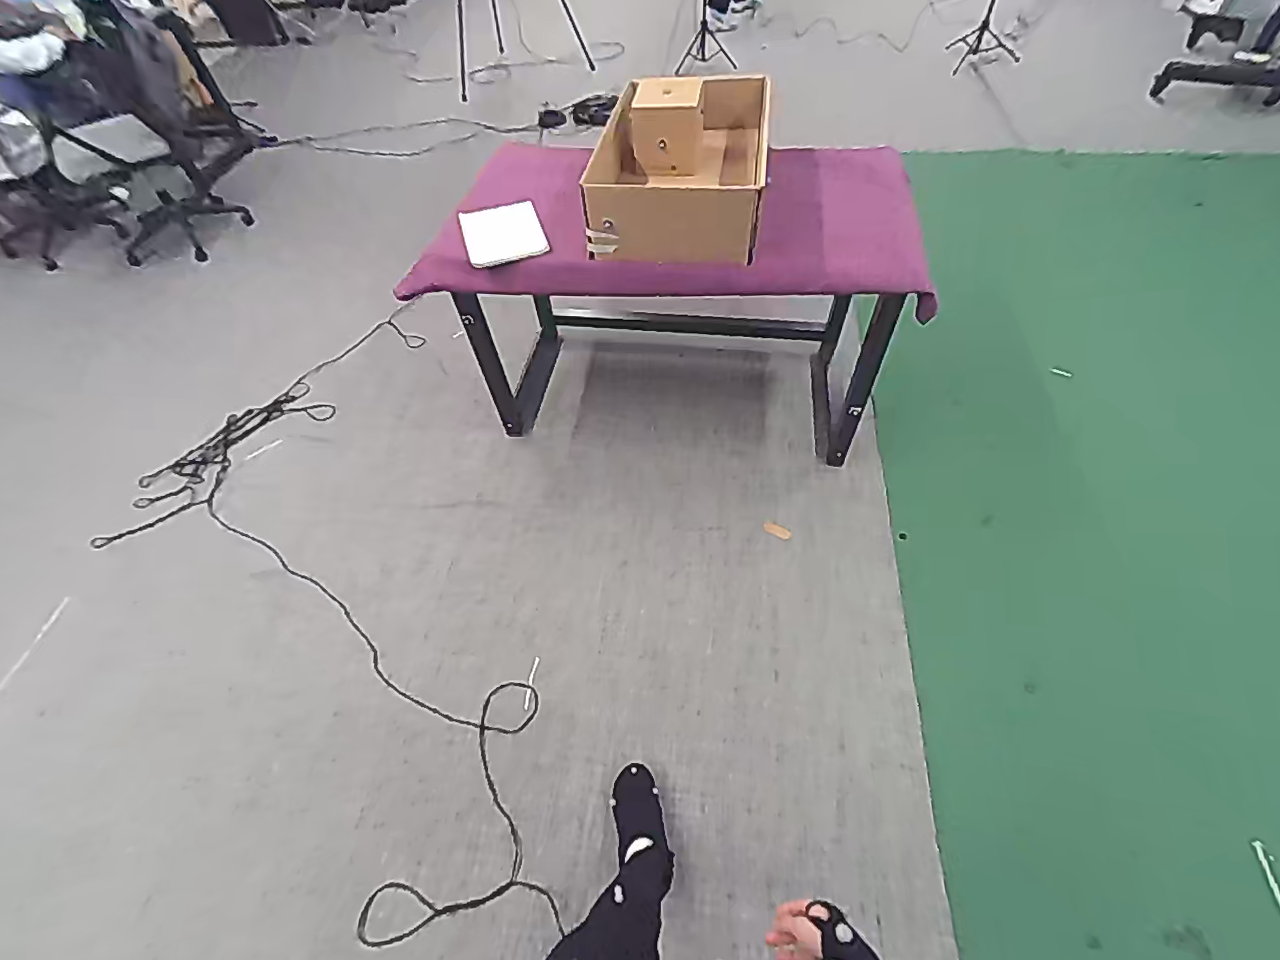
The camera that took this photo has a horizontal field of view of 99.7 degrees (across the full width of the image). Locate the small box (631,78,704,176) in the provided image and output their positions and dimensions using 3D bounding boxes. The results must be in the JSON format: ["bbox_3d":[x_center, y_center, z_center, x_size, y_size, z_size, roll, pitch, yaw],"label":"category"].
[{"bbox_3d":[0.079,-0.930,1.431,0.168,0.176,0.179,6,56,9],"label":"small box"}]
